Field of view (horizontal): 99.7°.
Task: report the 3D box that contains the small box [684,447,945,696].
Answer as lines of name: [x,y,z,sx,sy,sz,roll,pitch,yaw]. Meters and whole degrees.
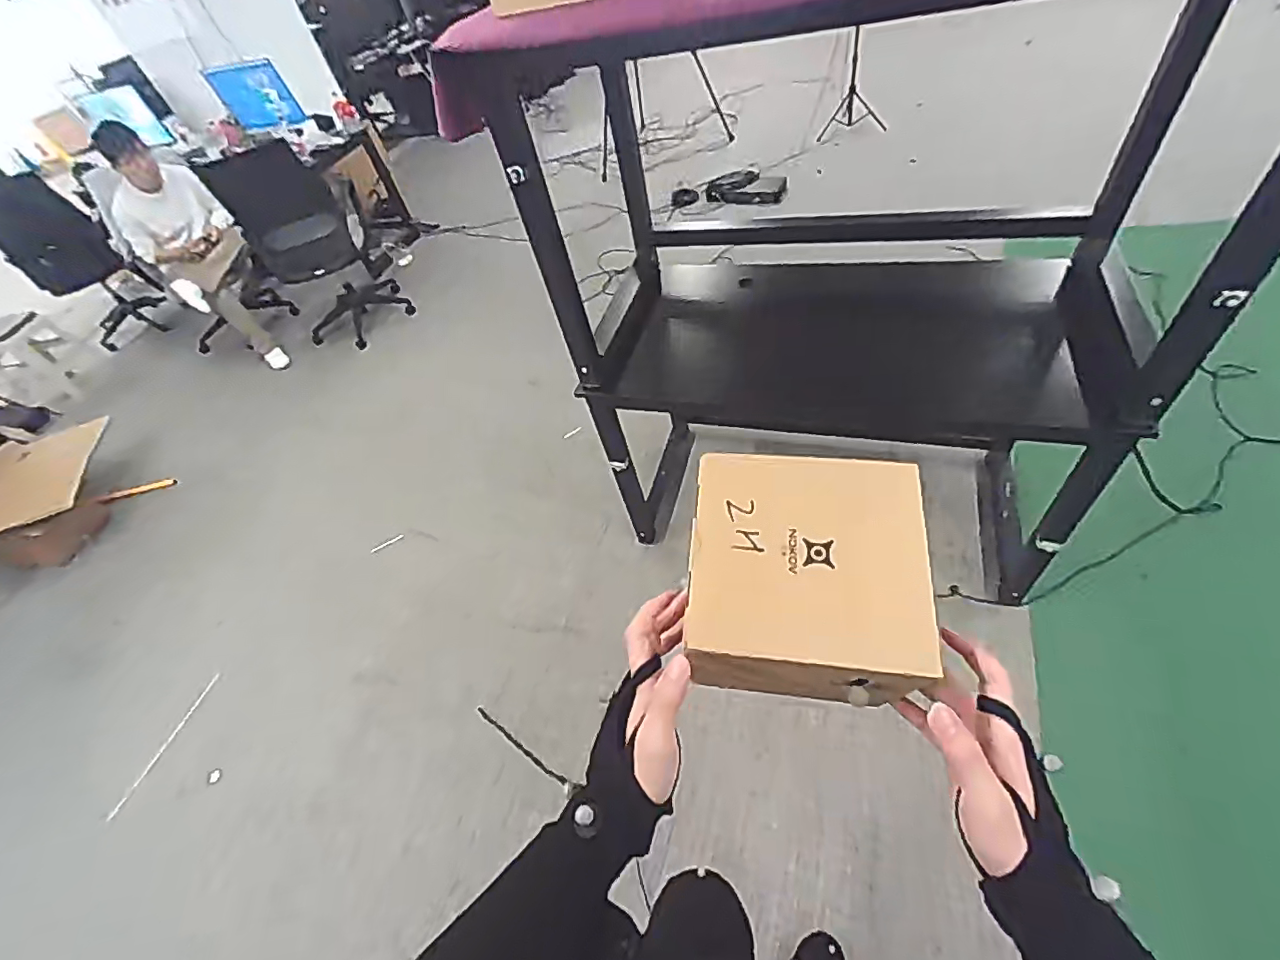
small box: [0.138,0.087,0.476,0.179,0.176,0.168,3,62,11]

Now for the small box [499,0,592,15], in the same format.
small box: [-0.126,-0.817,0.797,0.179,0.176,0.168,8,53,19]
